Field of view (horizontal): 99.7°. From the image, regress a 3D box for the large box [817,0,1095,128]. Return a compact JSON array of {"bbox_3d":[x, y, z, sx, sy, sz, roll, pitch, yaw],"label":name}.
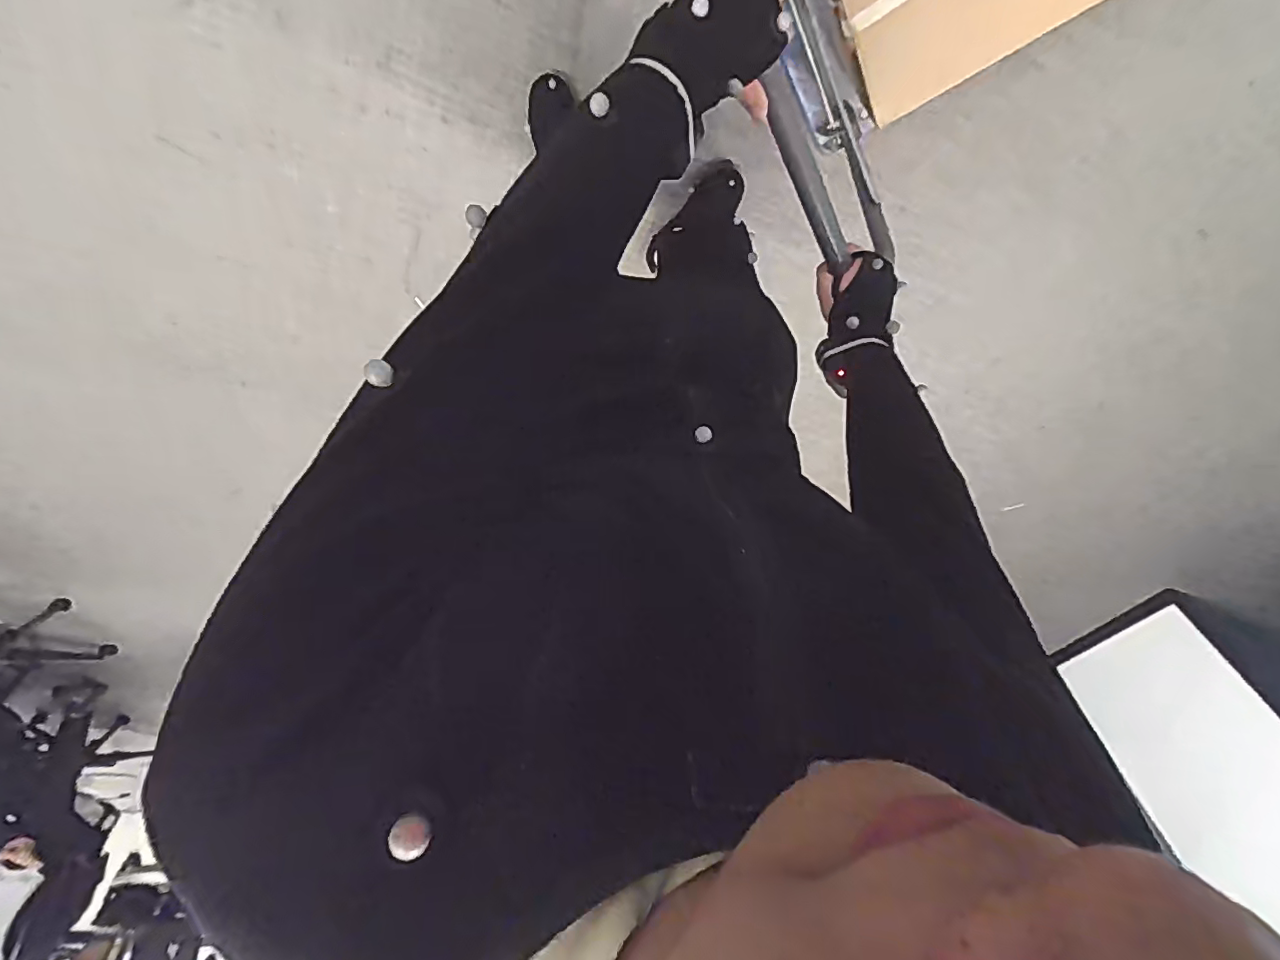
[{"bbox_3d":[0.467,-0.819,0.777,0.408,0.320,0.320,-21,134,26],"label":"large box"}]
